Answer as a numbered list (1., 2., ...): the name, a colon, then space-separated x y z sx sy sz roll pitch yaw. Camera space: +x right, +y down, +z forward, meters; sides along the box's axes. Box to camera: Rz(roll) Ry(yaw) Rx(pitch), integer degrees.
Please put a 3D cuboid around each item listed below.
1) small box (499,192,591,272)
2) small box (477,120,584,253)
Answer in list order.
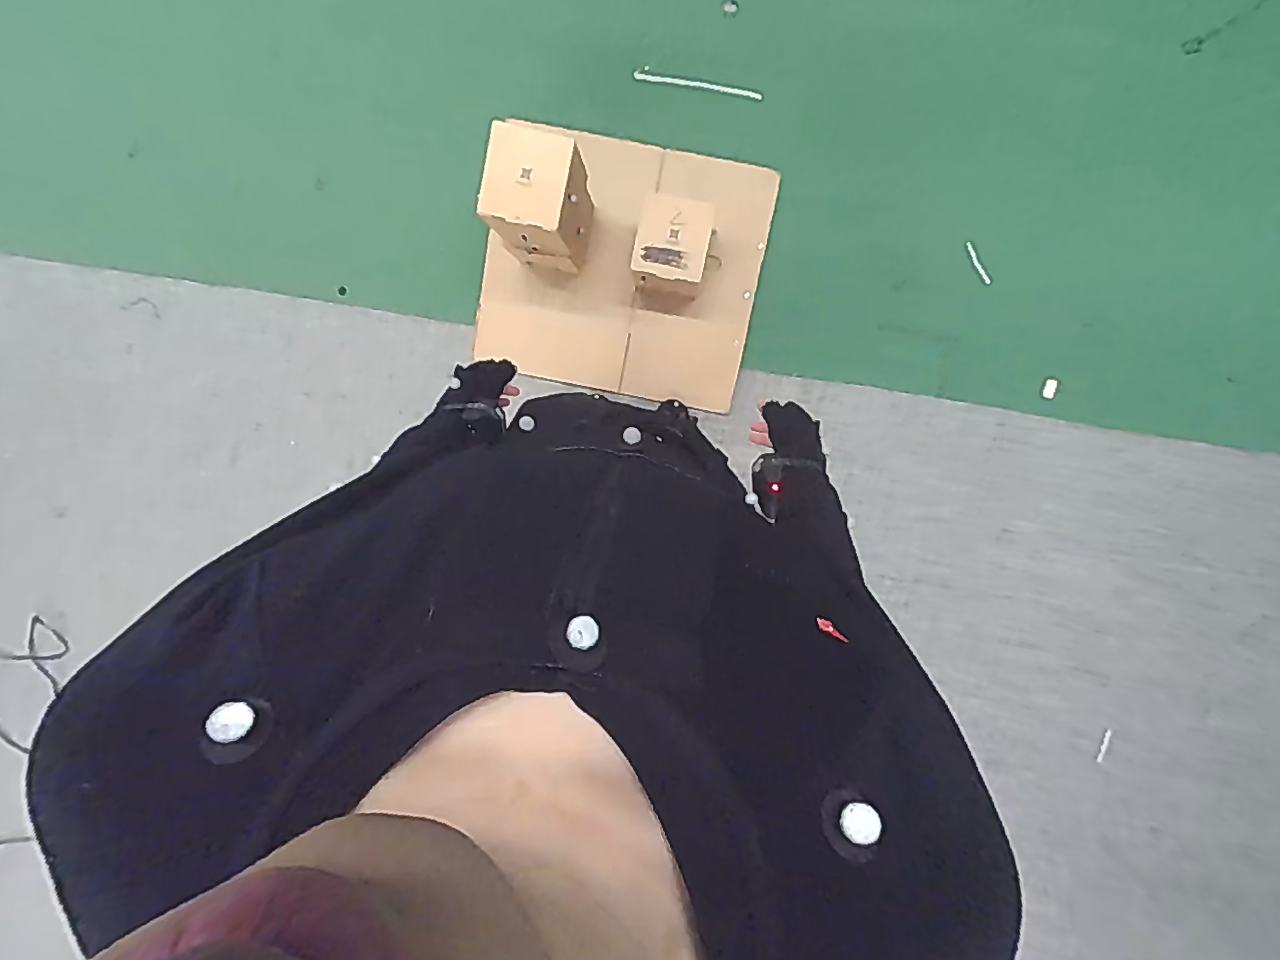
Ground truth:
1. small box: -0.219 -0.612 1.286 0.168 0.176 0.179 13 98 1
2. small box: -0.218 -0.599 1.124 0.168 0.176 0.179 14 99 0
